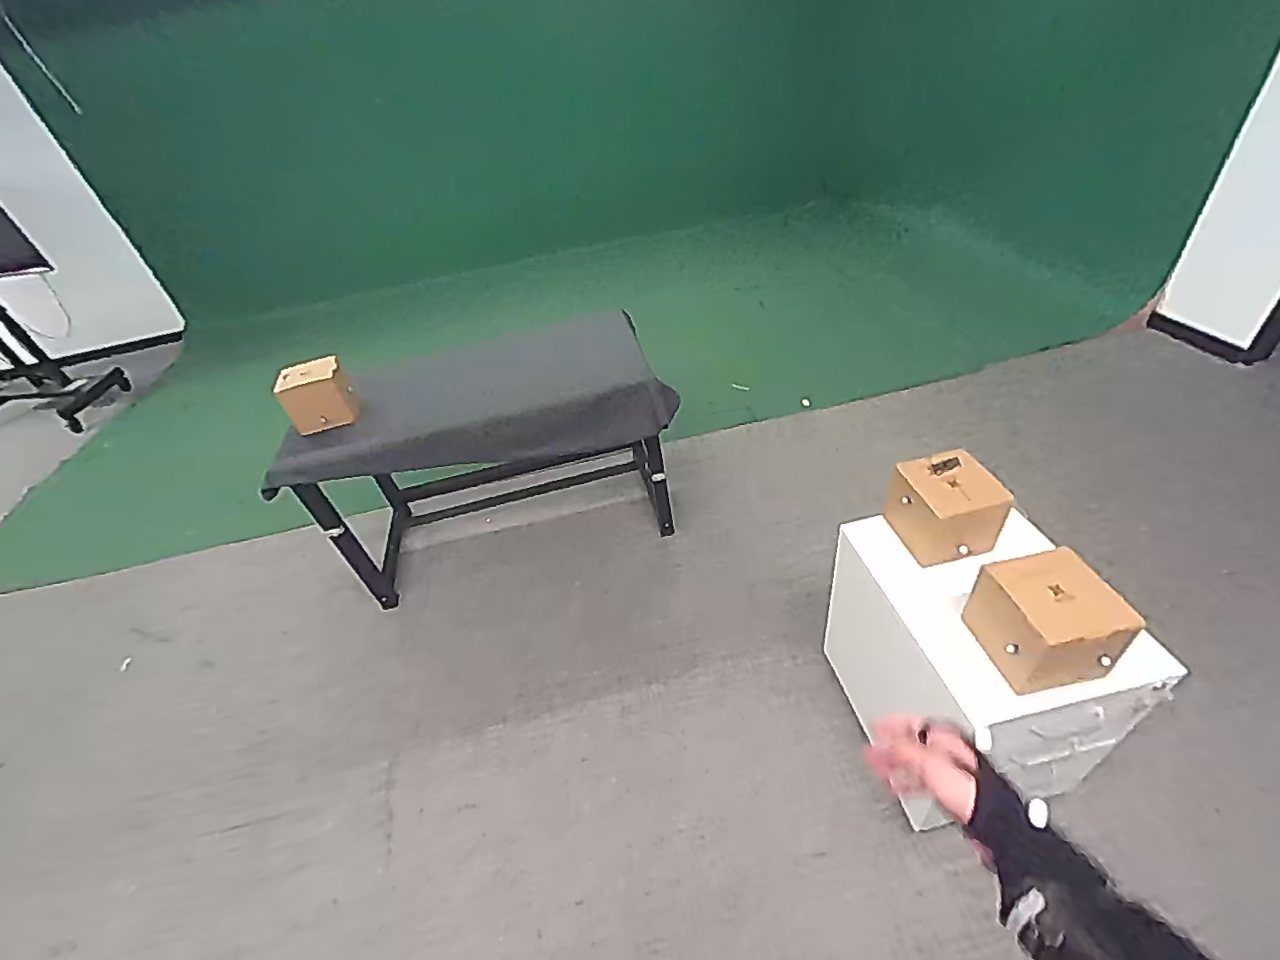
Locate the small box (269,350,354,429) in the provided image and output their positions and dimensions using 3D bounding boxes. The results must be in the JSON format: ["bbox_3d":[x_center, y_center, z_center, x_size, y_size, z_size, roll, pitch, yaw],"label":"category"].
[{"bbox_3d":[-1.048,-0.291,1.742,0.179,0.176,0.168,-17,41,-10],"label":"small box"}]

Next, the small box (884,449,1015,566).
[{"bbox_3d":[0.668,0.061,1.195,0.168,0.176,0.179,-13,43,-3],"label":"small box"}]

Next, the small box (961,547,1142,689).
[{"bbox_3d":[0.720,0.253,0.971,0.168,0.176,0.179,-11,39,-3],"label":"small box"}]
